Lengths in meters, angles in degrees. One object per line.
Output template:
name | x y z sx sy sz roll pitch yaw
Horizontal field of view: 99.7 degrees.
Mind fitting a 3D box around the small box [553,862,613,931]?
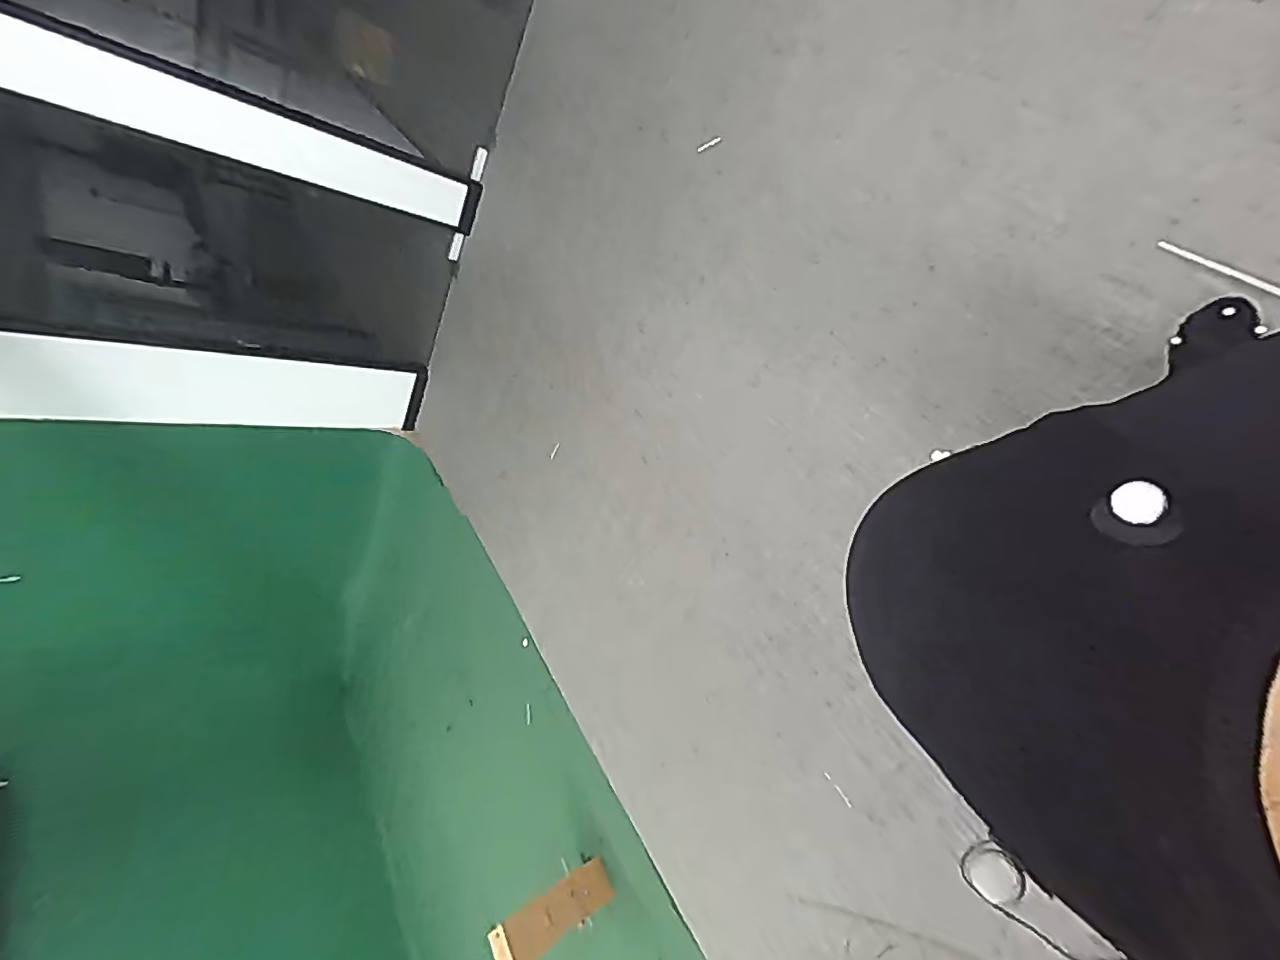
small box | -0.251 1.824 2.382 0.179 0.176 0.168 54 126 29

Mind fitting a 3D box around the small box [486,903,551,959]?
small box | -0.479 1.841 2.146 0.179 0.176 0.168 53 126 30
